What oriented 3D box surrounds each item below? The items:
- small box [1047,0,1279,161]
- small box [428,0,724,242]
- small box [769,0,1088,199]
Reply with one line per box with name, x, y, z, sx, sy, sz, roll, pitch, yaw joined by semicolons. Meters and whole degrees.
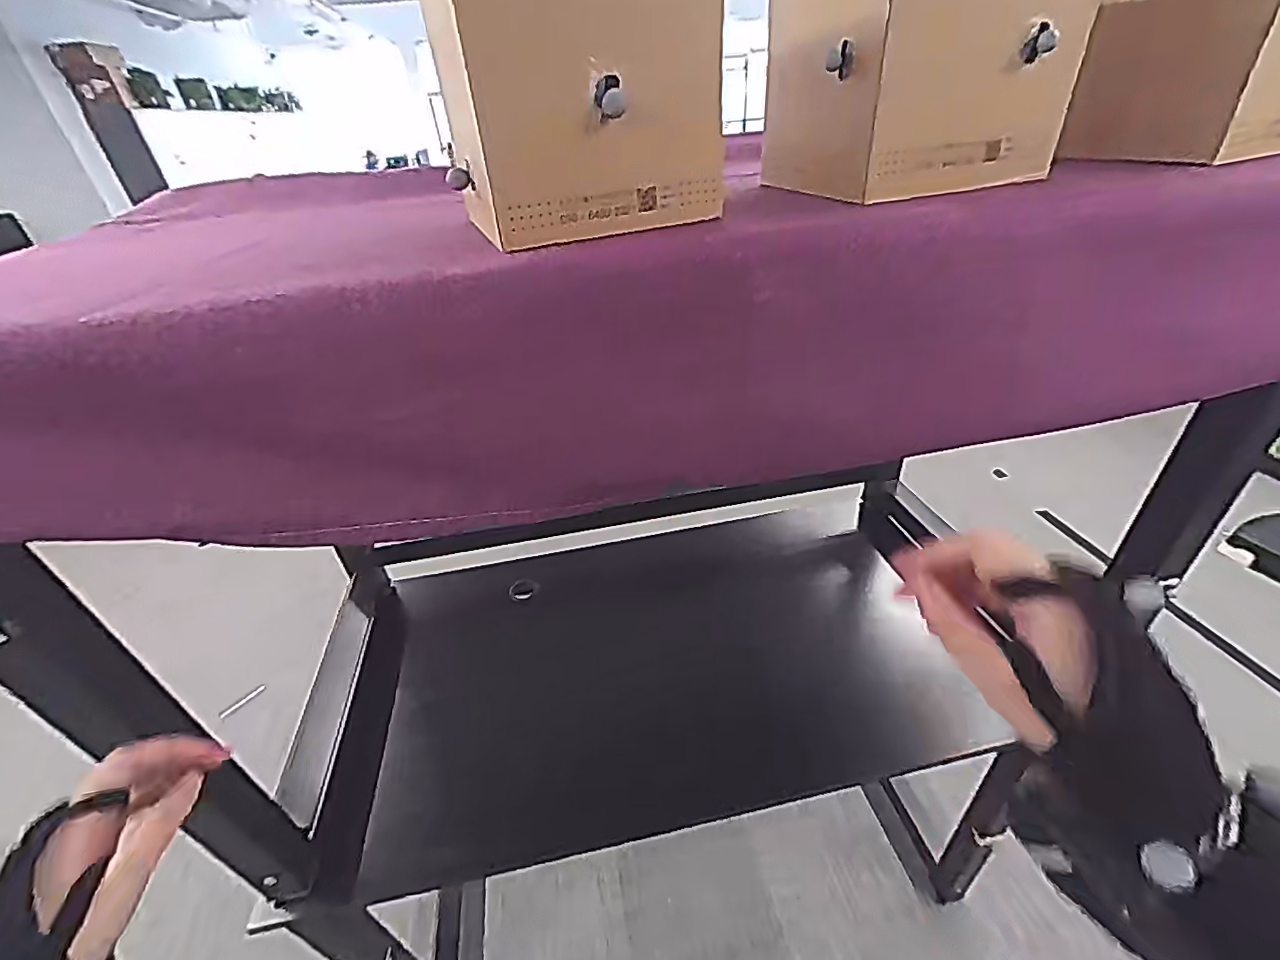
small box;0.478;-0.370;0.452;0.168;0.176;0.179;-15;34;-12
small box;-0.046;-0.280;0.394;0.168;0.176;0.179;-16;36;-15
small box;0.217;-0.330;0.435;0.168;0.176;0.179;-12;34;-10
